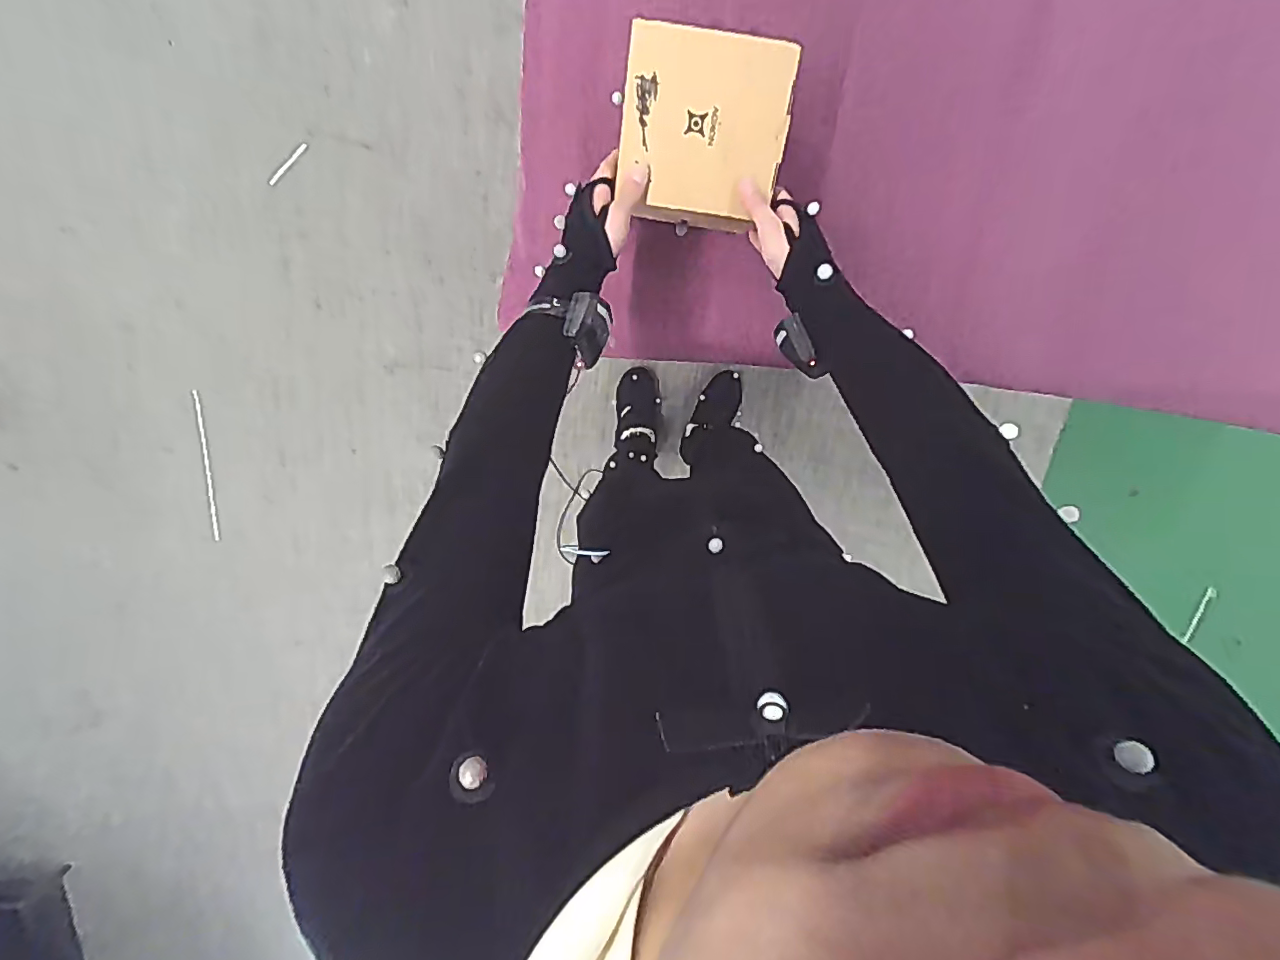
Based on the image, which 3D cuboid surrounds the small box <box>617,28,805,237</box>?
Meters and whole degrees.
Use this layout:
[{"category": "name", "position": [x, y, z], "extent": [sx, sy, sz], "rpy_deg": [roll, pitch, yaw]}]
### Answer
[{"category": "small box", "position": [0.071, -0.393, 0.646], "extent": [0.179, 0.176, 0.168], "rpy_deg": [8, 110, -3]}]
